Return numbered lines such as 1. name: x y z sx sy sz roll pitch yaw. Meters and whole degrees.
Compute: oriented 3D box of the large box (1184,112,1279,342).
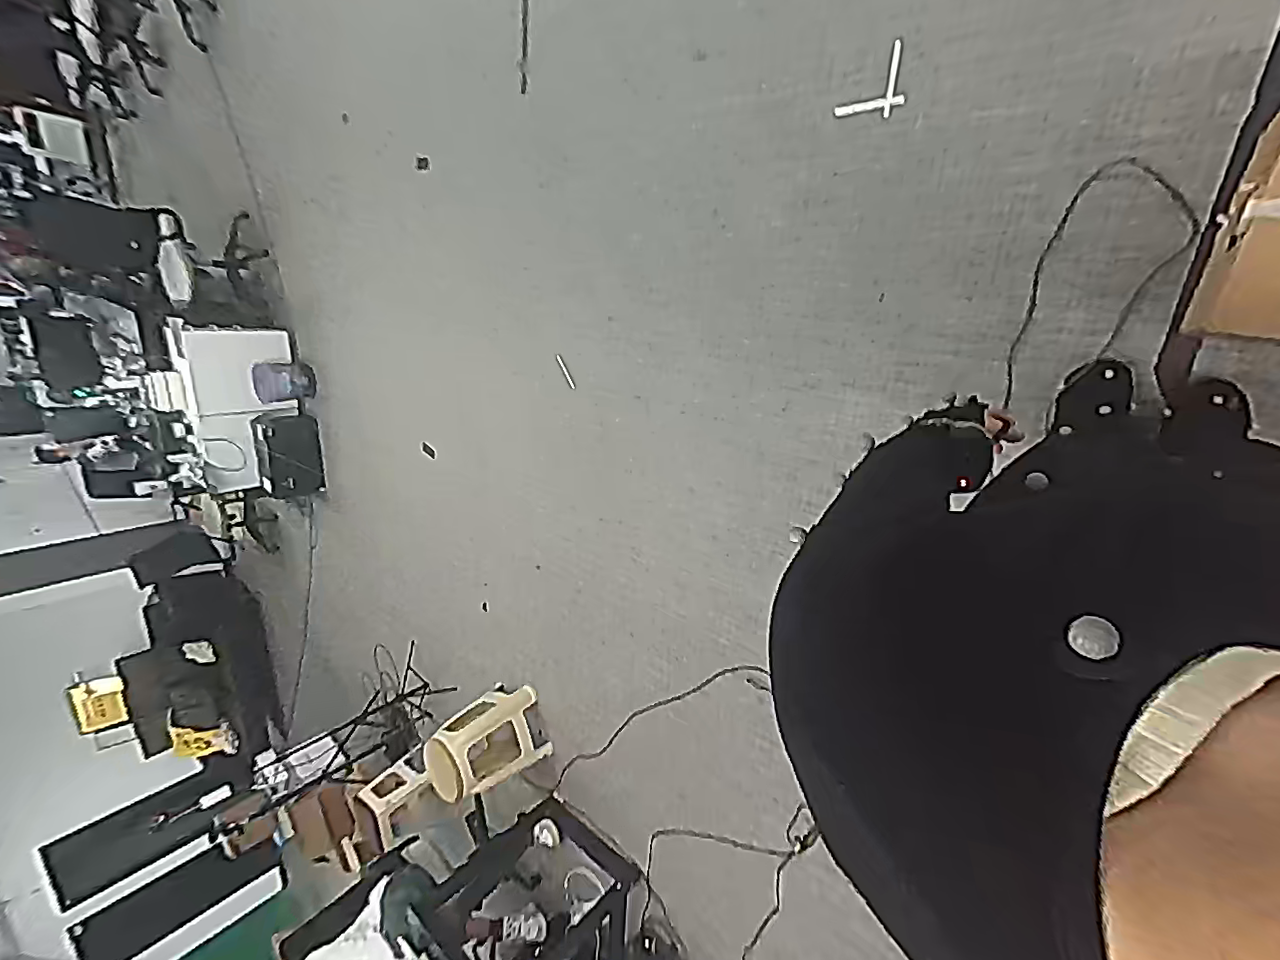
1. large box: 1.030 -0.323 0.682 0.408 0.320 0.320 21 114 35
